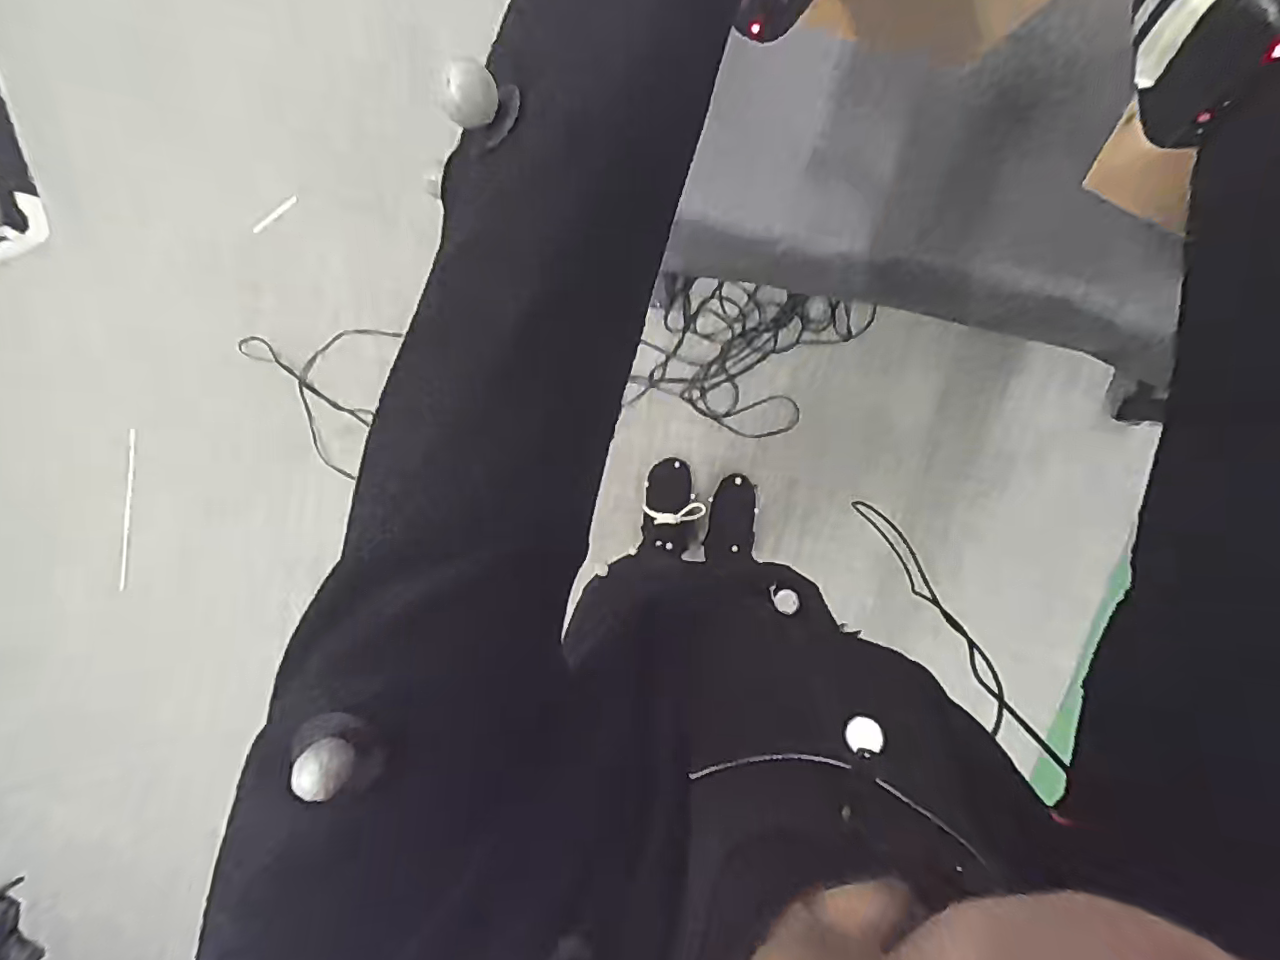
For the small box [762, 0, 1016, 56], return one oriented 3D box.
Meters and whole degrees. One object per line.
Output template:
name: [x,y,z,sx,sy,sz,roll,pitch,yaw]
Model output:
small box: [0.176,-0.388,0.310,0.179,0.176,0.168,14,108,-3]
